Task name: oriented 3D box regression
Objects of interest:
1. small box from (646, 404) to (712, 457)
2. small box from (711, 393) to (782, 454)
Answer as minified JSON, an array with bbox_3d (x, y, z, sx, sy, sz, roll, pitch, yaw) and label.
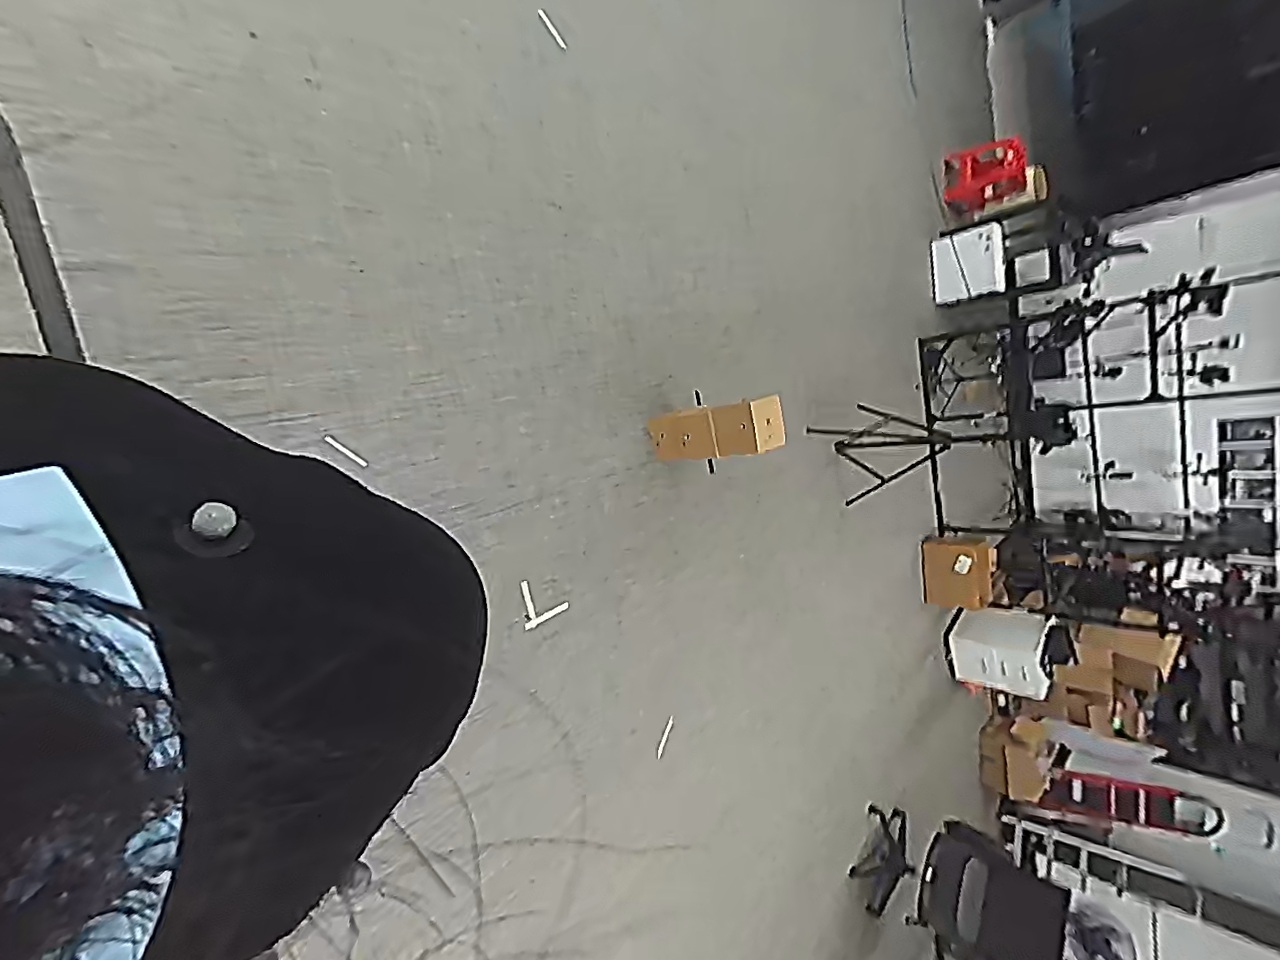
[{"bbox_3d":[0.153,-0.192,2.116,0.179,0.176,0.168,-26,106,-39],"label":"small box"},{"bbox_3d":[0.365,-0.192,1.864,0.168,0.176,0.179,-19,102,-39],"label":"small box"}]
